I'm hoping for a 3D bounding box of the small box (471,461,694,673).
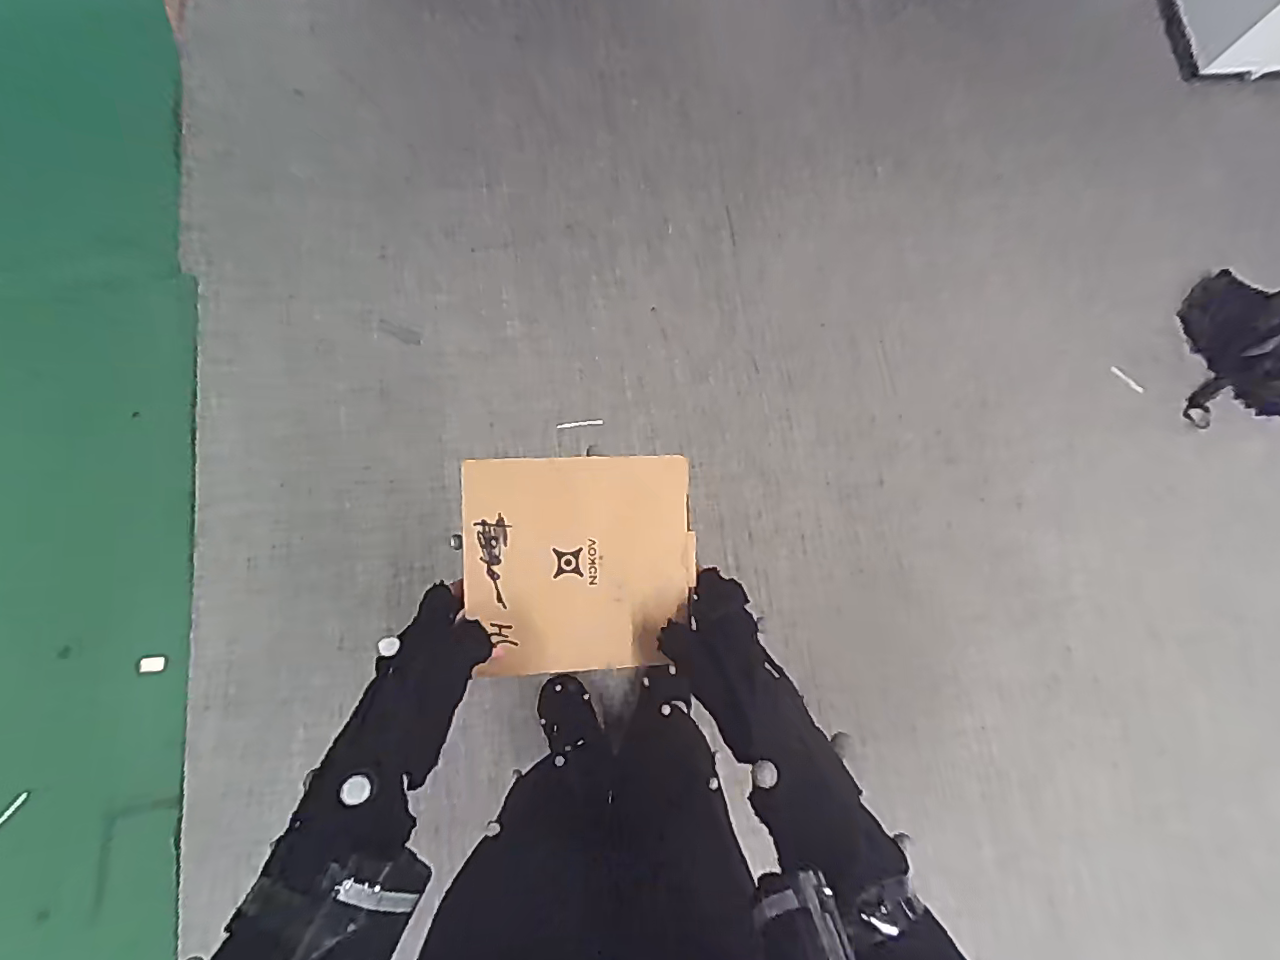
[{"bbox_3d":[-0.054,0.066,0.507,0.179,0.176,0.168,-2,89,-7],"label":"small box"}]
